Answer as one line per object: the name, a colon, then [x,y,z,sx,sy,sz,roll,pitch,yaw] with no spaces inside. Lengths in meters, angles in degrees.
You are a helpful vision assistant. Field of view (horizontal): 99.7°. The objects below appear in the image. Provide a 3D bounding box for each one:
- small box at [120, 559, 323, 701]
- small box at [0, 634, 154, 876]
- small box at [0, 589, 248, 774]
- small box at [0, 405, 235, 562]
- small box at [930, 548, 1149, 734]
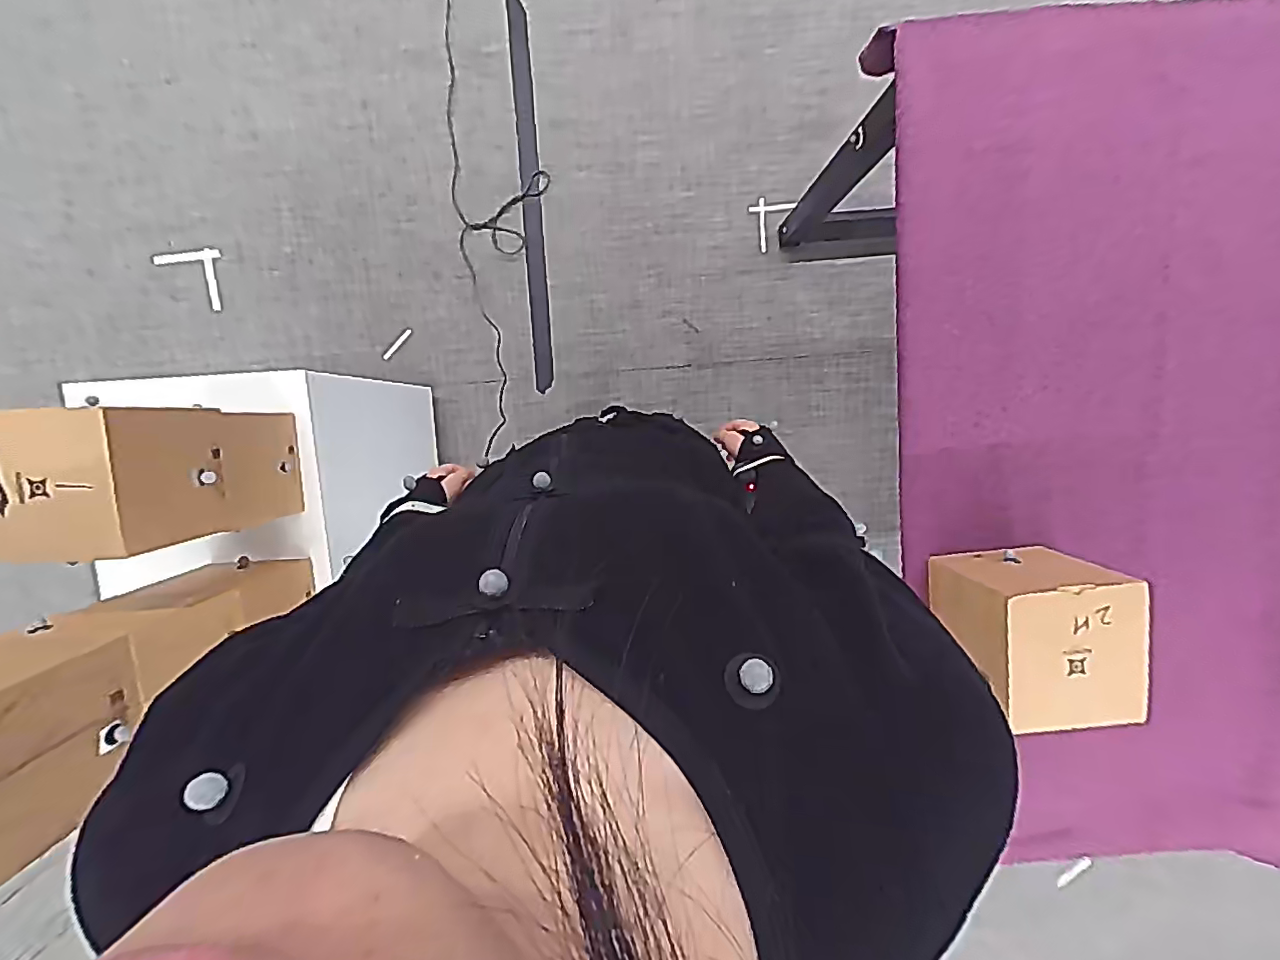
small box: [-0.633,0.224,0.837,0.179,0.176,0.168,-3,98,1]
small box: [-0.631,0.261,0.515,0.179,0.176,0.168,-5,98,0]
small box: [-0.630,0.243,0.676,0.179,0.176,0.168,-4,97,1]
small box: [-0.636,-0.003,0.644,0.179,0.176,0.168,-2,97,-1]
small box: [0.504,0.199,0.707,0.168,0.176,0.179,-5,97,-1]
